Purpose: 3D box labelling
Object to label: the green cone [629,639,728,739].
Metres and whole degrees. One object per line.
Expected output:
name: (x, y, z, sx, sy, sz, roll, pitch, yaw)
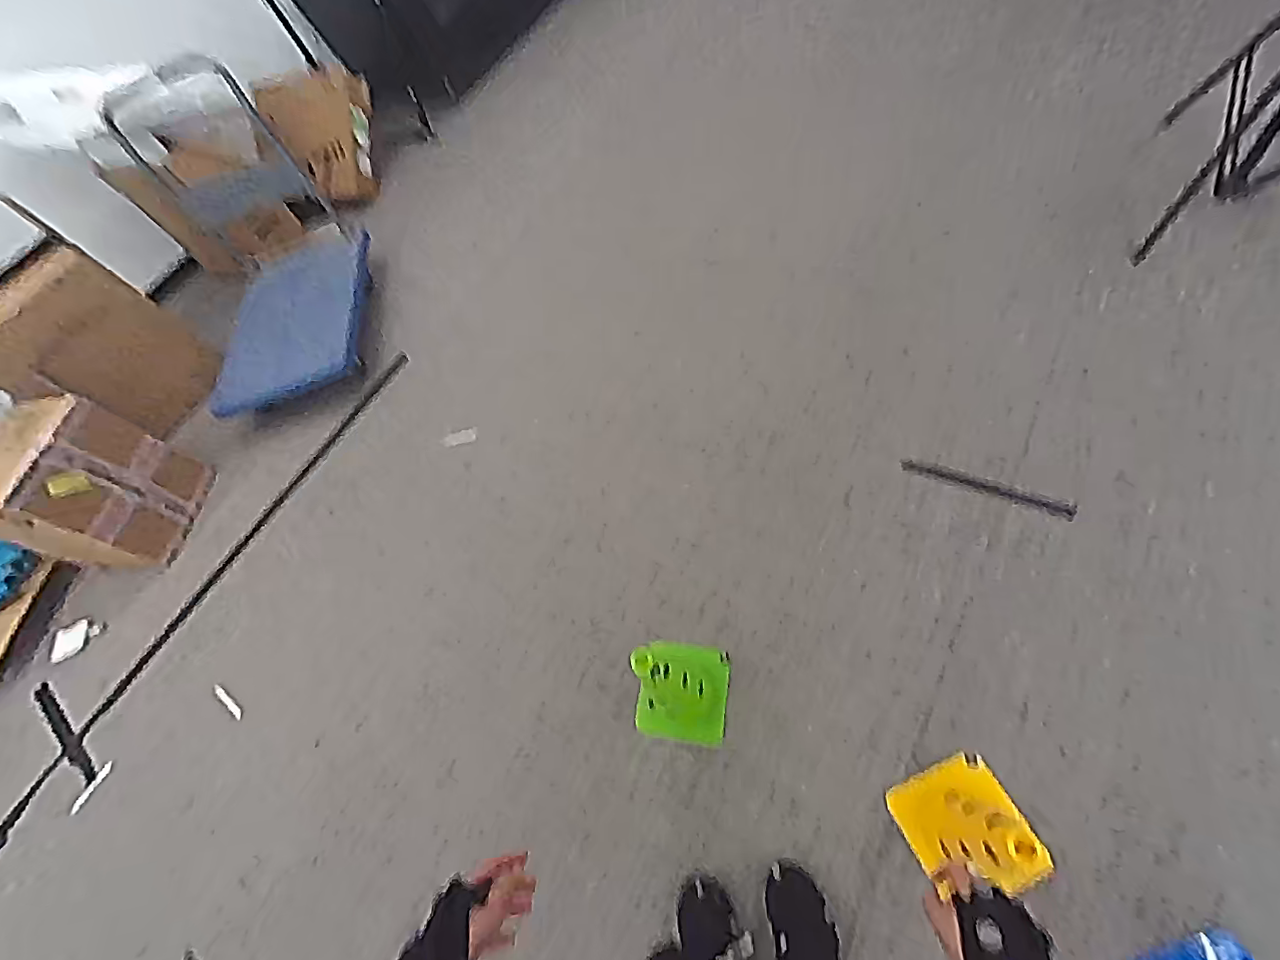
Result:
green cone: (0.047, 0.392, 1.088, 0.200, 0.368, 0.202, 0, 63, 19)
